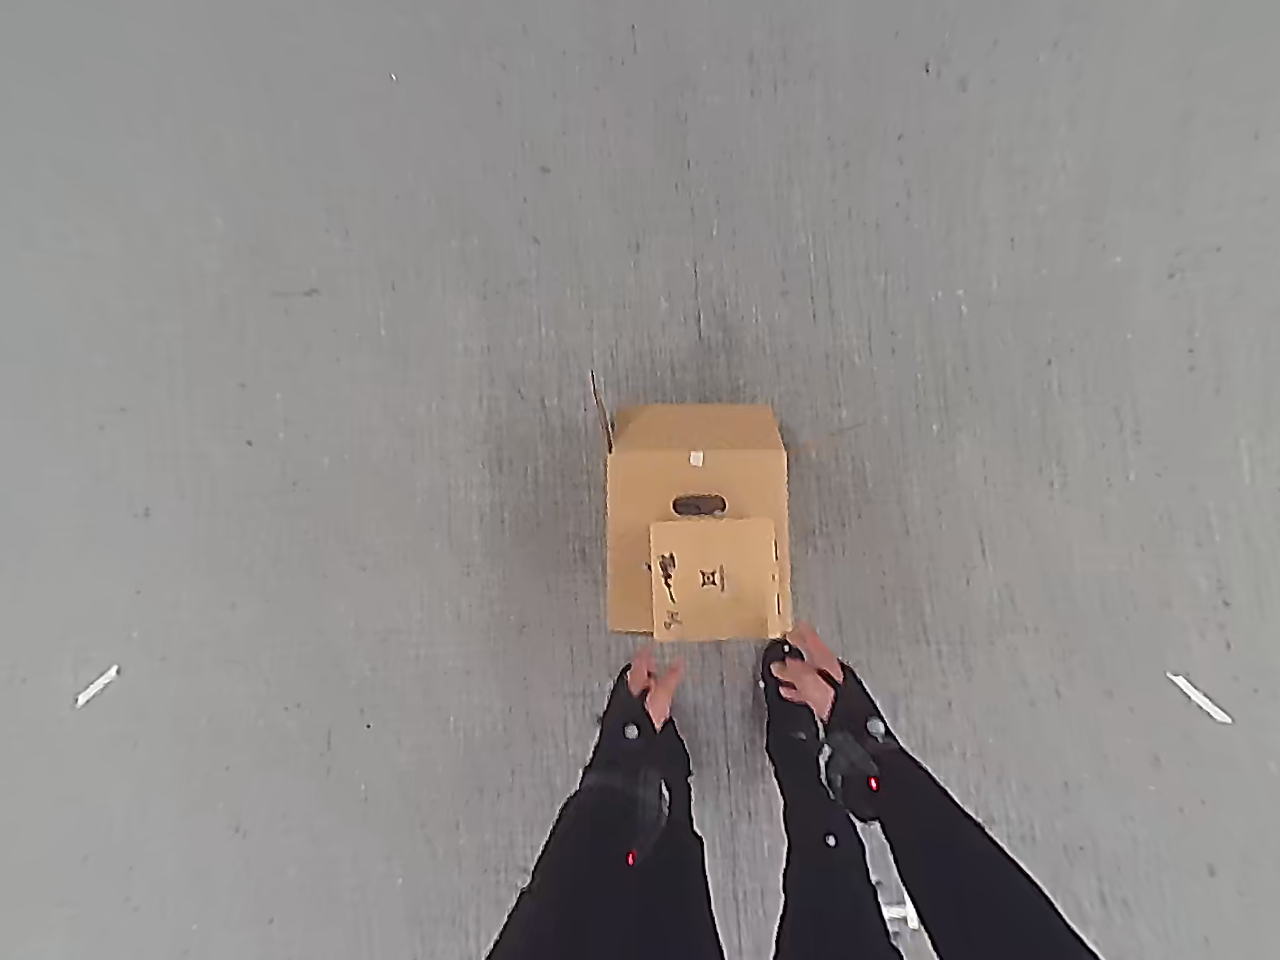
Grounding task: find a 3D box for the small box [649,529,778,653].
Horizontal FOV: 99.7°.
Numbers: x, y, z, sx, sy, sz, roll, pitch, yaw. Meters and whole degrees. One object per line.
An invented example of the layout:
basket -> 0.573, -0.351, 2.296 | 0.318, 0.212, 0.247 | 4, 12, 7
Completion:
small box -> 0.104, 0.162, 0.832 | 0.179, 0.176, 0.168 | -2, 85, 1
